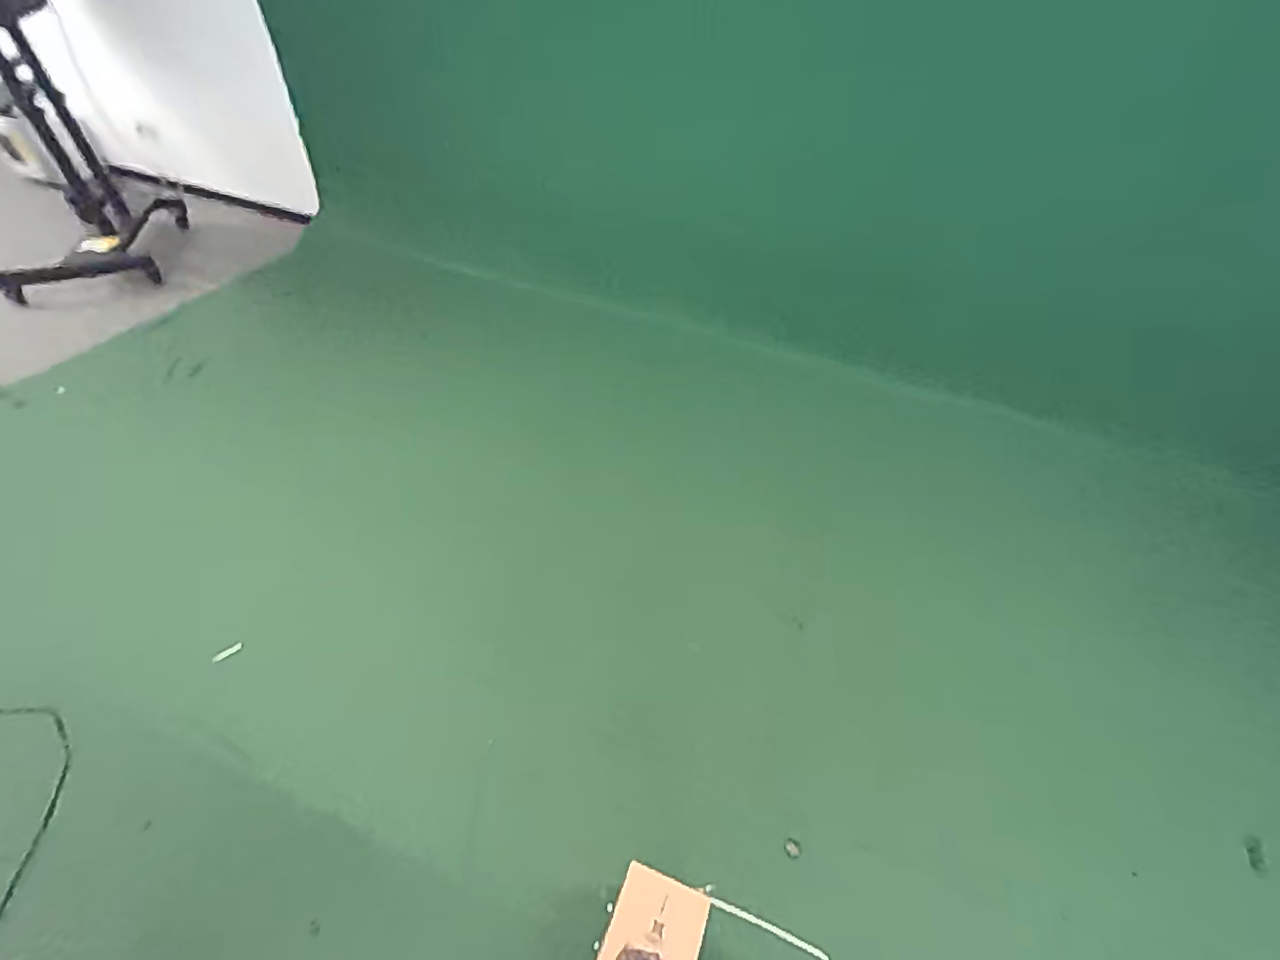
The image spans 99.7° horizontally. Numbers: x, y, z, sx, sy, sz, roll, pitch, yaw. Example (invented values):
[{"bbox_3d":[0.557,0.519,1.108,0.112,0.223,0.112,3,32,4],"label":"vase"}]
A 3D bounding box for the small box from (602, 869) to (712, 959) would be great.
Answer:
[{"bbox_3d":[0.024,0.886,1.024,0.168,0.176,0.179,19,46,11],"label":"small box"}]
